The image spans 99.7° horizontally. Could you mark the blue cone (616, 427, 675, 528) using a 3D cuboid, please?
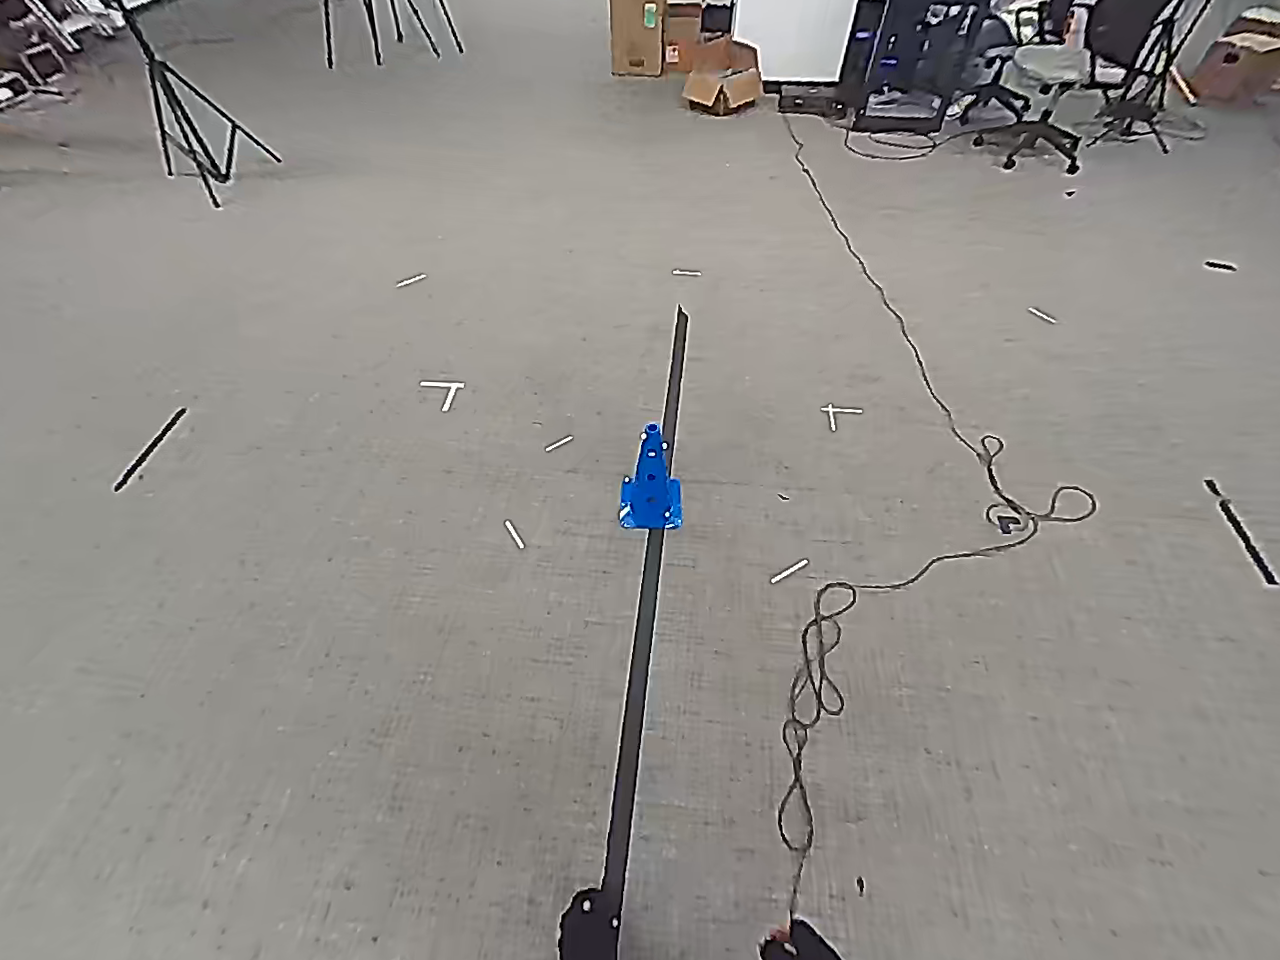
[{"bbox_3d":[0.017,-0.022,1.660,0.192,0.380,0.193,2,51,2],"label":"blue cone"}]
